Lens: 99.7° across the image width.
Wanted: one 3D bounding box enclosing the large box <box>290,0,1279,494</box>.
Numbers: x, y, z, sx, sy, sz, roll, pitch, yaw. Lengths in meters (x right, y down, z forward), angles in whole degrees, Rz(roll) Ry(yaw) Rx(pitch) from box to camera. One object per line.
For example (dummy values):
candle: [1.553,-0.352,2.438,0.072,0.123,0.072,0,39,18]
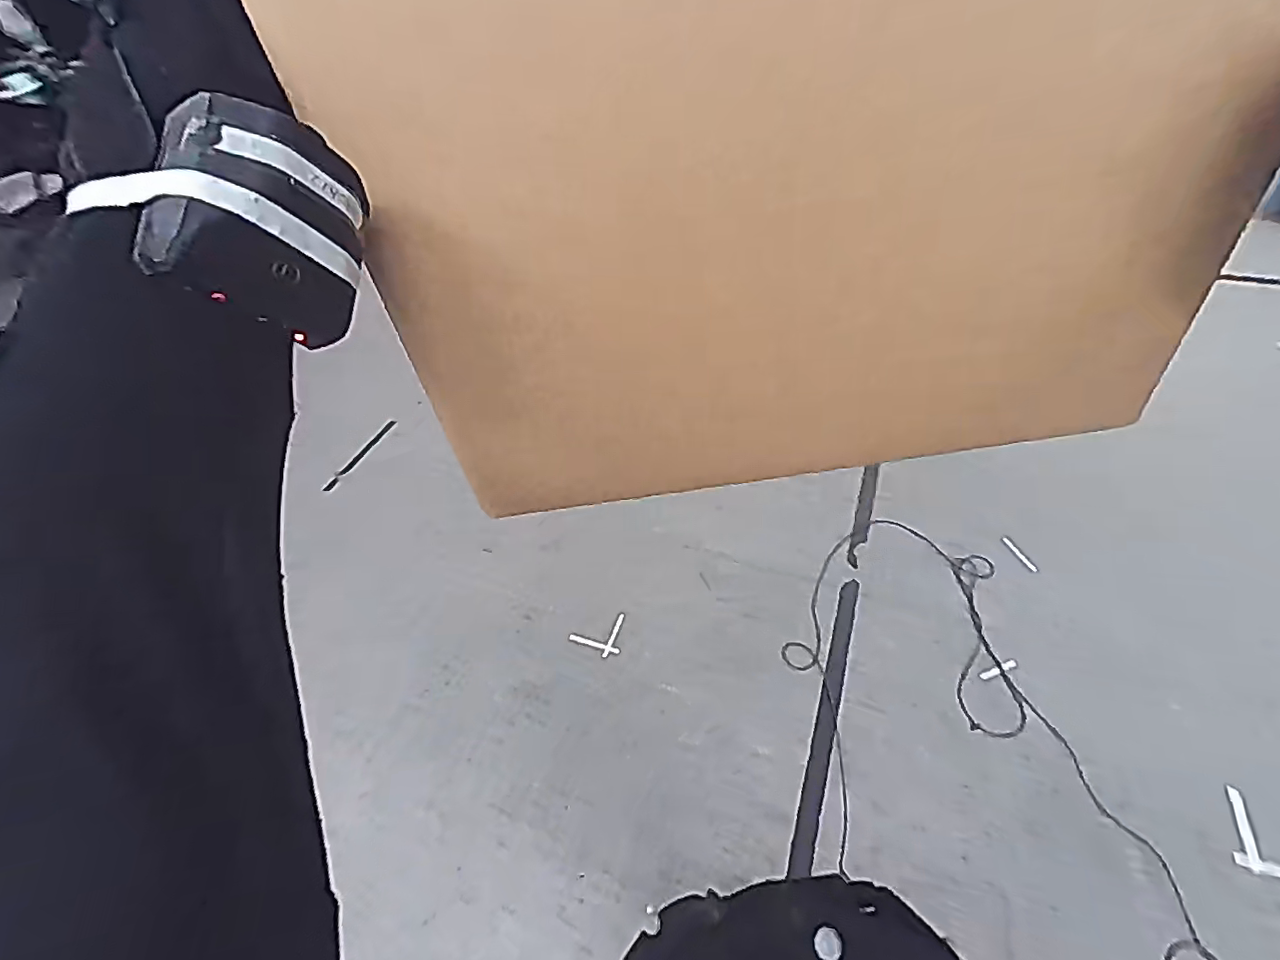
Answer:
large box: [0.070,-0.222,0.356,0.408,0.320,0.320,-7,41,2]
